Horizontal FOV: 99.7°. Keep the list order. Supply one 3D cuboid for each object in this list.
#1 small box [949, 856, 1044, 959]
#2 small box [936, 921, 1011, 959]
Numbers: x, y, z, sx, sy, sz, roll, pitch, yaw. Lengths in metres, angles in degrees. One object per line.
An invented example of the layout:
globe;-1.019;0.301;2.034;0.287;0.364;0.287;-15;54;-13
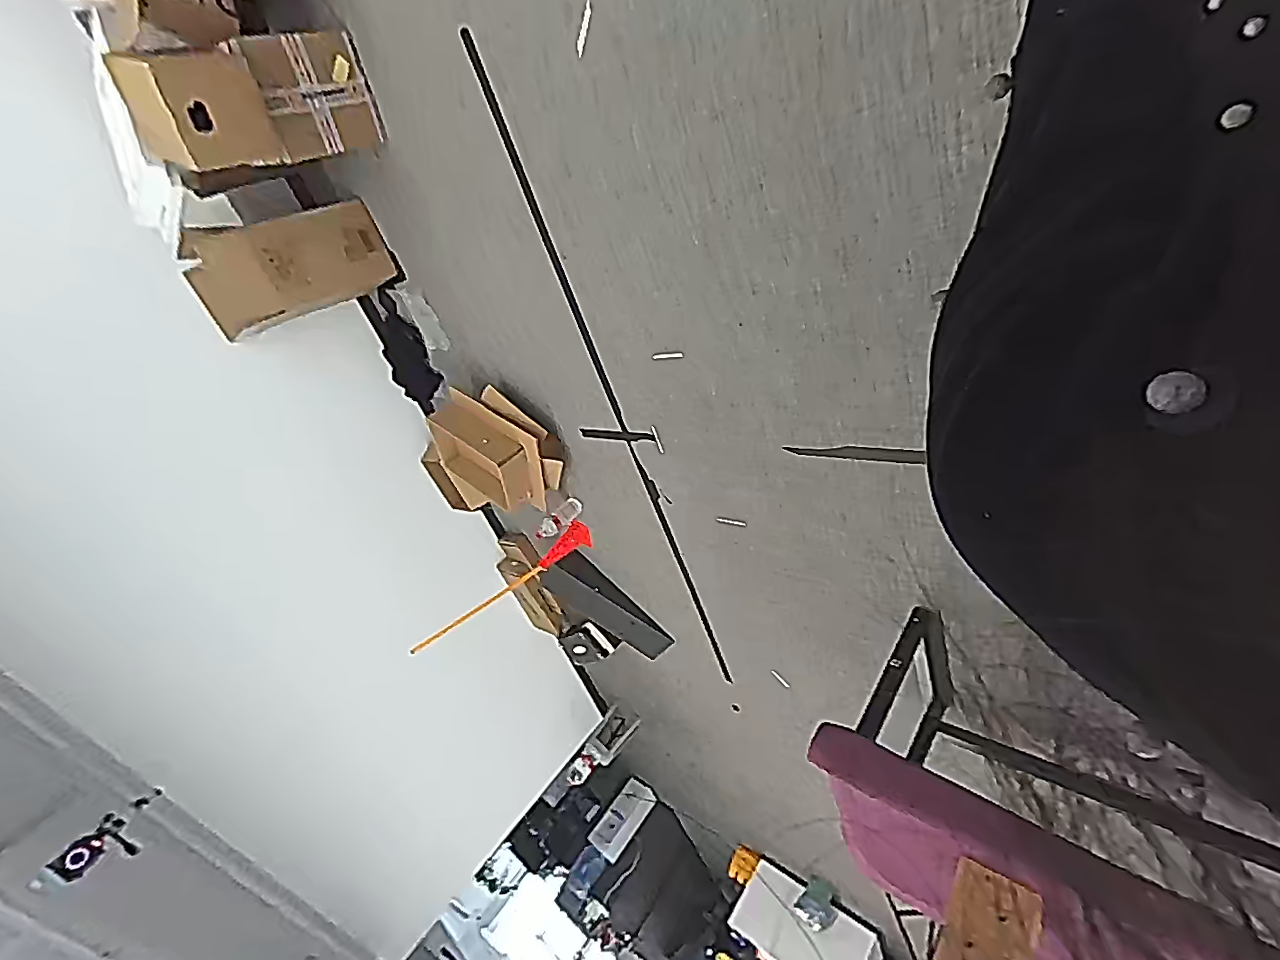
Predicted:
small box;0.881;1.085;1.337;0.168;0.176;0.179;8;131;44
small box;0.782;1.182;1.250;0.168;0.176;0.179;9;131;43
